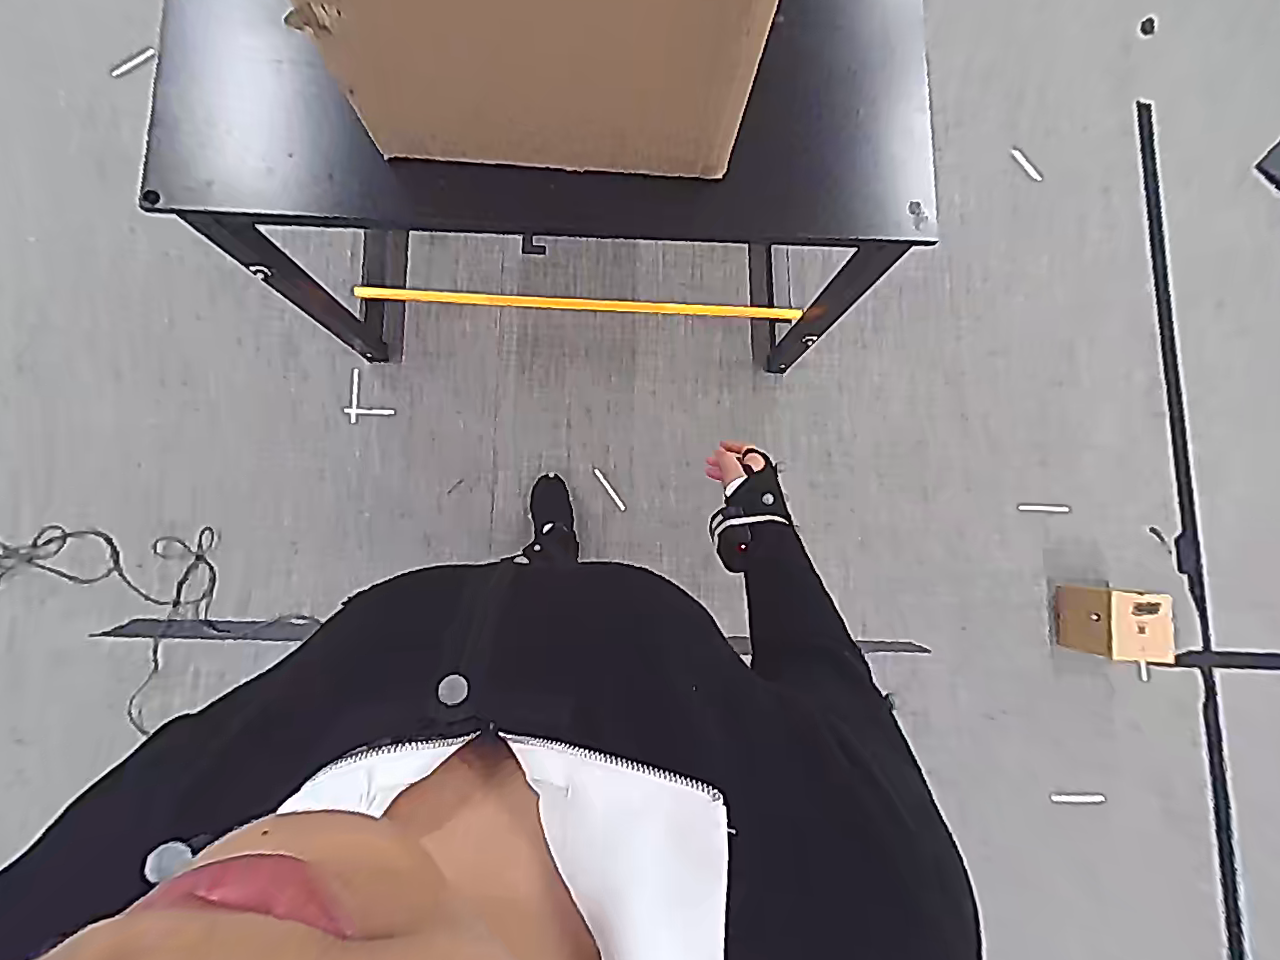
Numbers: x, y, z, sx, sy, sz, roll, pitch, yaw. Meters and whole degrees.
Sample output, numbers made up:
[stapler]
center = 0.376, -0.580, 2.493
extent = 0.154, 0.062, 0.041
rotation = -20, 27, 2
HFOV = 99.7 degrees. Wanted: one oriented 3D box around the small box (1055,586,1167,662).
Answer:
[small box]
center = 1.276, 0.386, 1.475
extent = 0.168, 0.176, 0.179
rotation = 4, 84, -3
